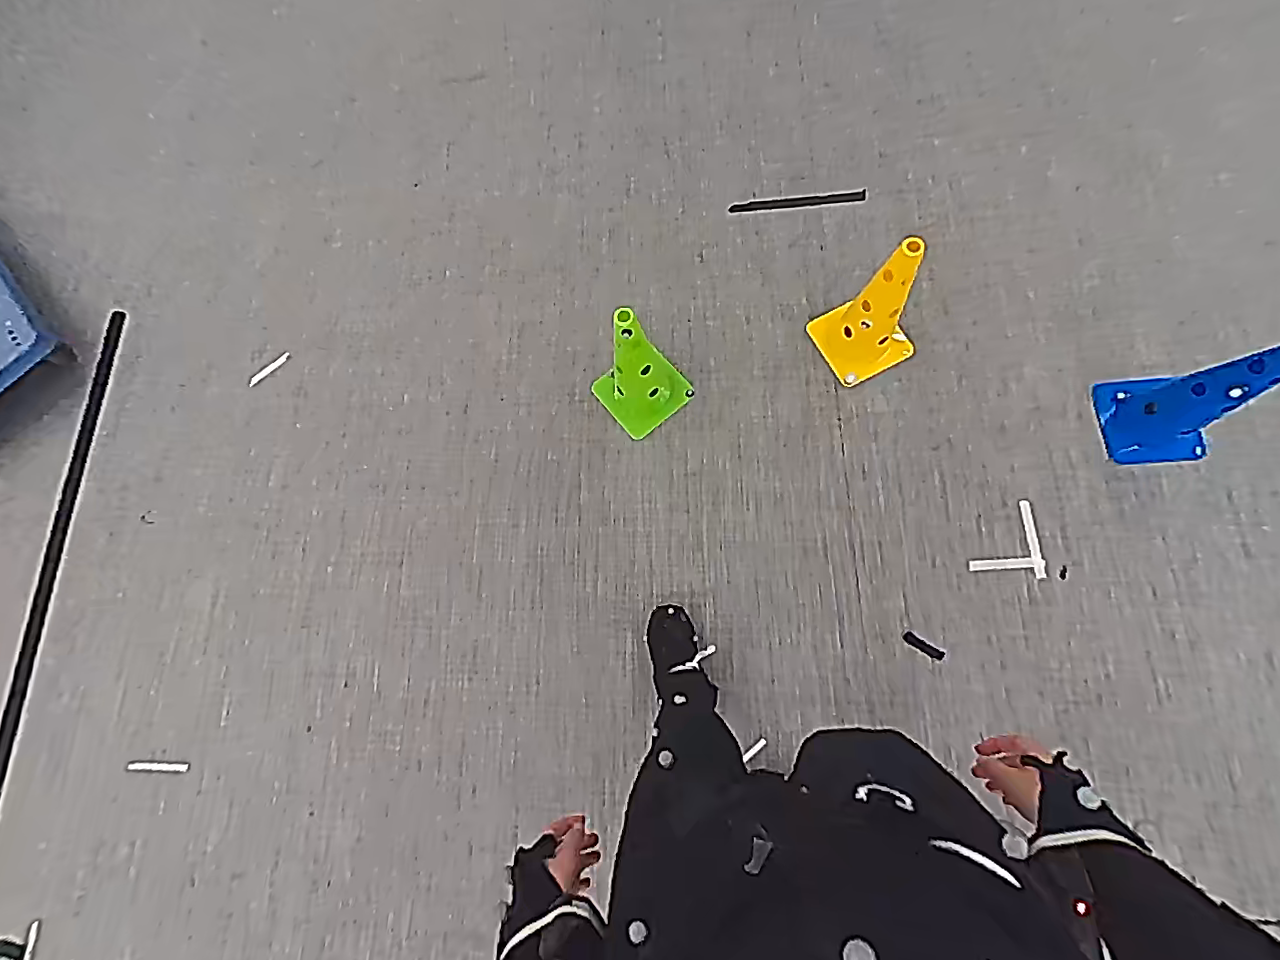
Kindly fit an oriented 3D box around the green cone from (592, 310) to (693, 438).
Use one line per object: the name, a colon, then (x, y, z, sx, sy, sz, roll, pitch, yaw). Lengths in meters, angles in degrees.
green cone: (-0.015, -0.272, 1.206, 0.202, 0.368, 0.200, -40, 74, -4)
